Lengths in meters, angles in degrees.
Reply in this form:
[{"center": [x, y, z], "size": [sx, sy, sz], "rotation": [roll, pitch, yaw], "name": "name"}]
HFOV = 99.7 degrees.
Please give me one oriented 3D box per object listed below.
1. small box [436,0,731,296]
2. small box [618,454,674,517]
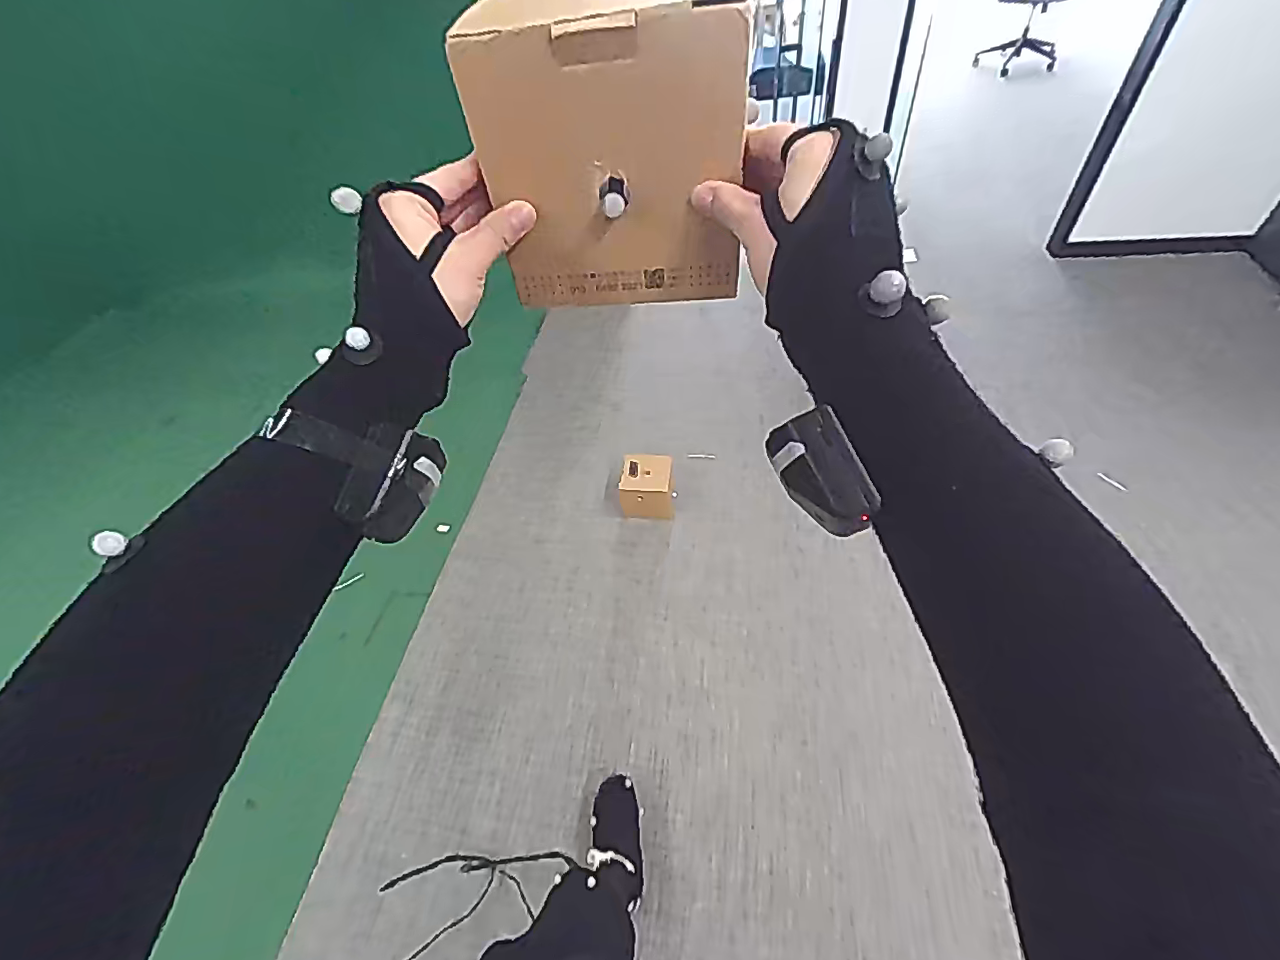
[{"center": [-0.019, -0.251, 0.400], "size": [0.168, 0.176, 0.179], "rotation": [-2, 50, 6], "name": "small box"}, {"center": [0.027, 0.023, 1.973], "size": [0.179, 0.176, 0.168], "rotation": [2, 51, 10], "name": "small box"}]
